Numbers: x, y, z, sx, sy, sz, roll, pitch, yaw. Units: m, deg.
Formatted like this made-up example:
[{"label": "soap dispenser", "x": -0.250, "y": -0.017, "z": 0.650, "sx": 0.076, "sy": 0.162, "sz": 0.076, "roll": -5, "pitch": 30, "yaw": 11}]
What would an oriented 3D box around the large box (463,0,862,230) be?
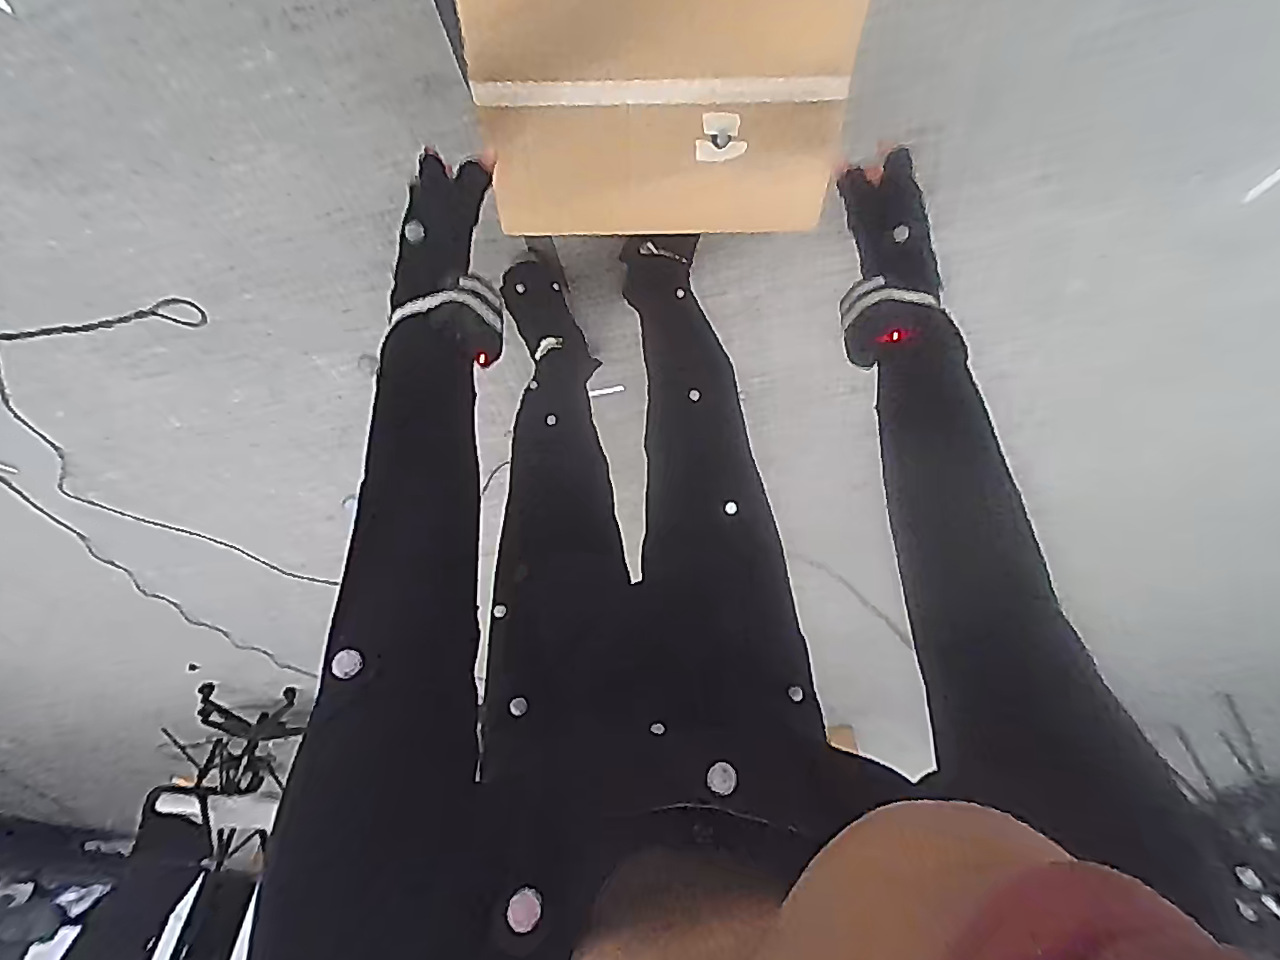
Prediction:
[{"label": "large box", "x": 0.018, "y": -0.542, "z": 0.683, "sx": 0.408, "sy": 0.320, "sz": 0.320, "roll": -2, "pitch": 139, "yaw": -1}]
